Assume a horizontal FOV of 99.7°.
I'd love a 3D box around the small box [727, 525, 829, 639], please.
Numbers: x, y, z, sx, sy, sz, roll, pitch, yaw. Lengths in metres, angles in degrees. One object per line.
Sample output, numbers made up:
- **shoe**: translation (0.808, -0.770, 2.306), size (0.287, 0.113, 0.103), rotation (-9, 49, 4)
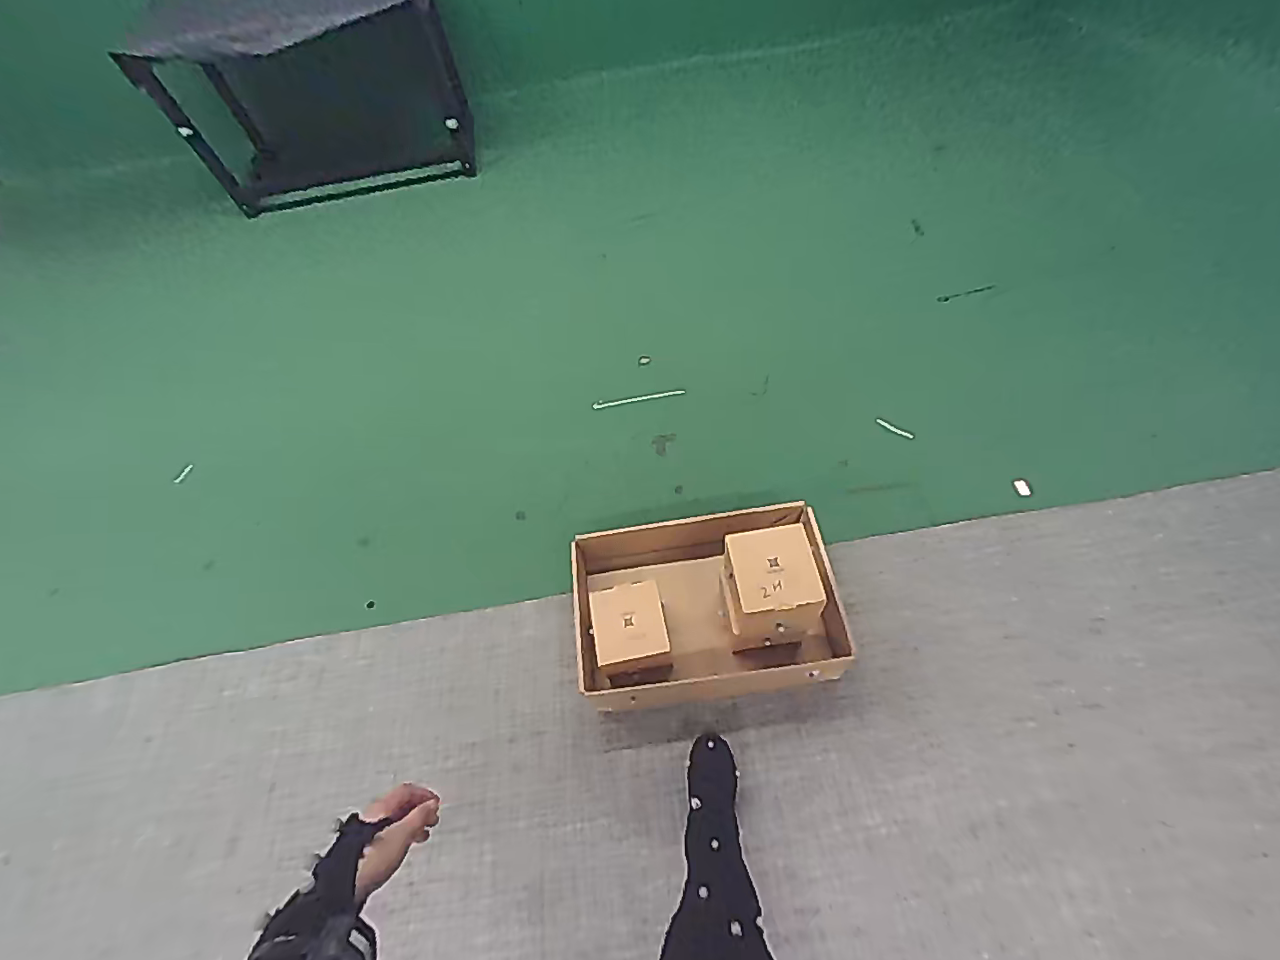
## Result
- **small box**: translation (0.281, 0.219, 1.144), size (0.168, 0.176, 0.179), rotation (-10, 58, 2)
